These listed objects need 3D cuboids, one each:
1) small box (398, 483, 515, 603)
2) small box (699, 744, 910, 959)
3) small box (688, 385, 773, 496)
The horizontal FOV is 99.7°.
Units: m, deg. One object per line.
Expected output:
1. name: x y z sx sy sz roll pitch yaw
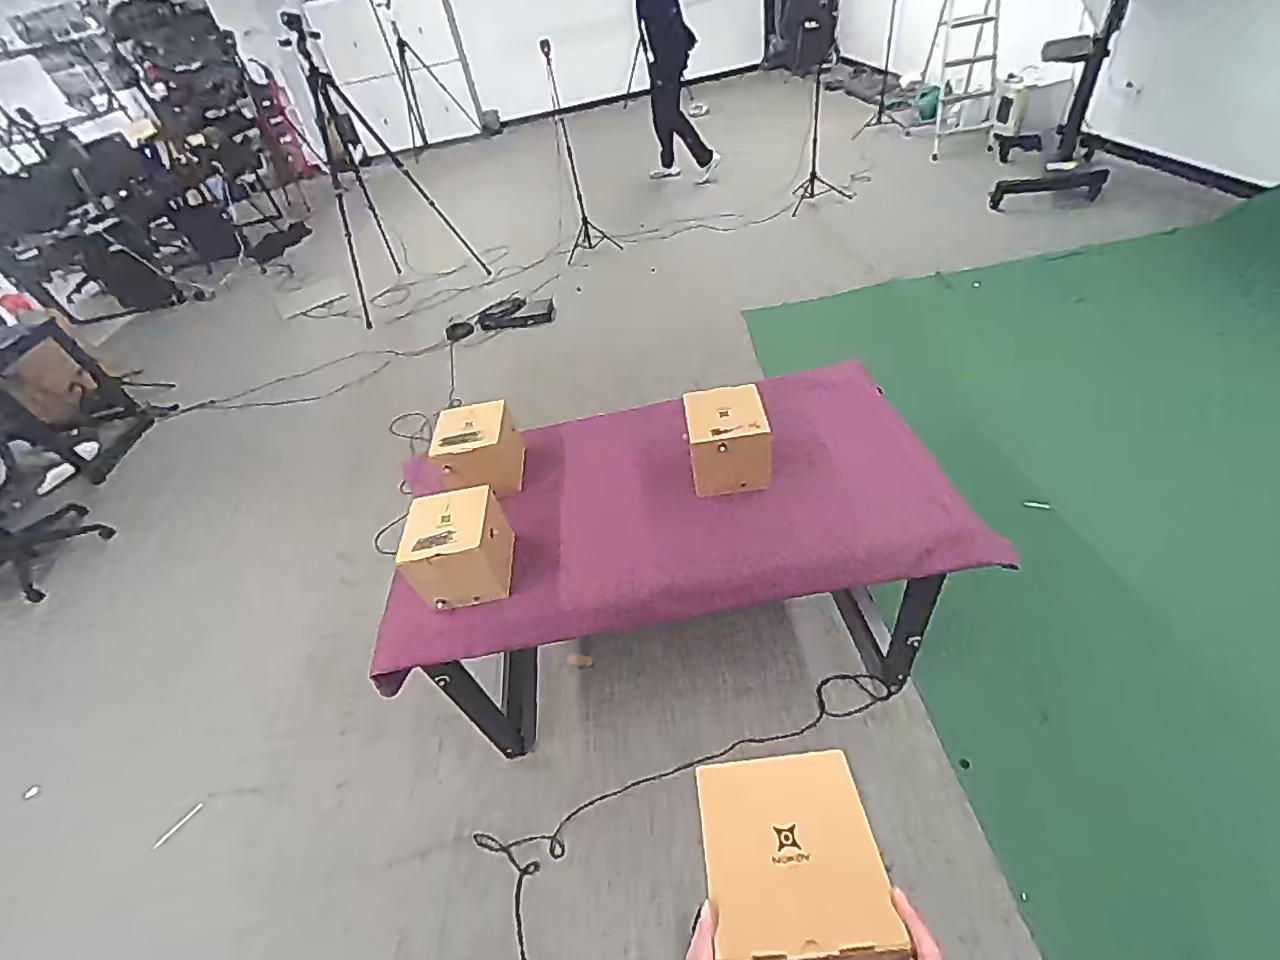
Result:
1. small box: -0.365 0.136 1.112 0.168 0.176 0.179 -10 43 2
2. small box: 0.158 0.414 0.571 0.168 0.176 0.179 -9 32 4
3. small box: 0.200 -0.088 1.214 0.168 0.176 0.179 -8 43 6
